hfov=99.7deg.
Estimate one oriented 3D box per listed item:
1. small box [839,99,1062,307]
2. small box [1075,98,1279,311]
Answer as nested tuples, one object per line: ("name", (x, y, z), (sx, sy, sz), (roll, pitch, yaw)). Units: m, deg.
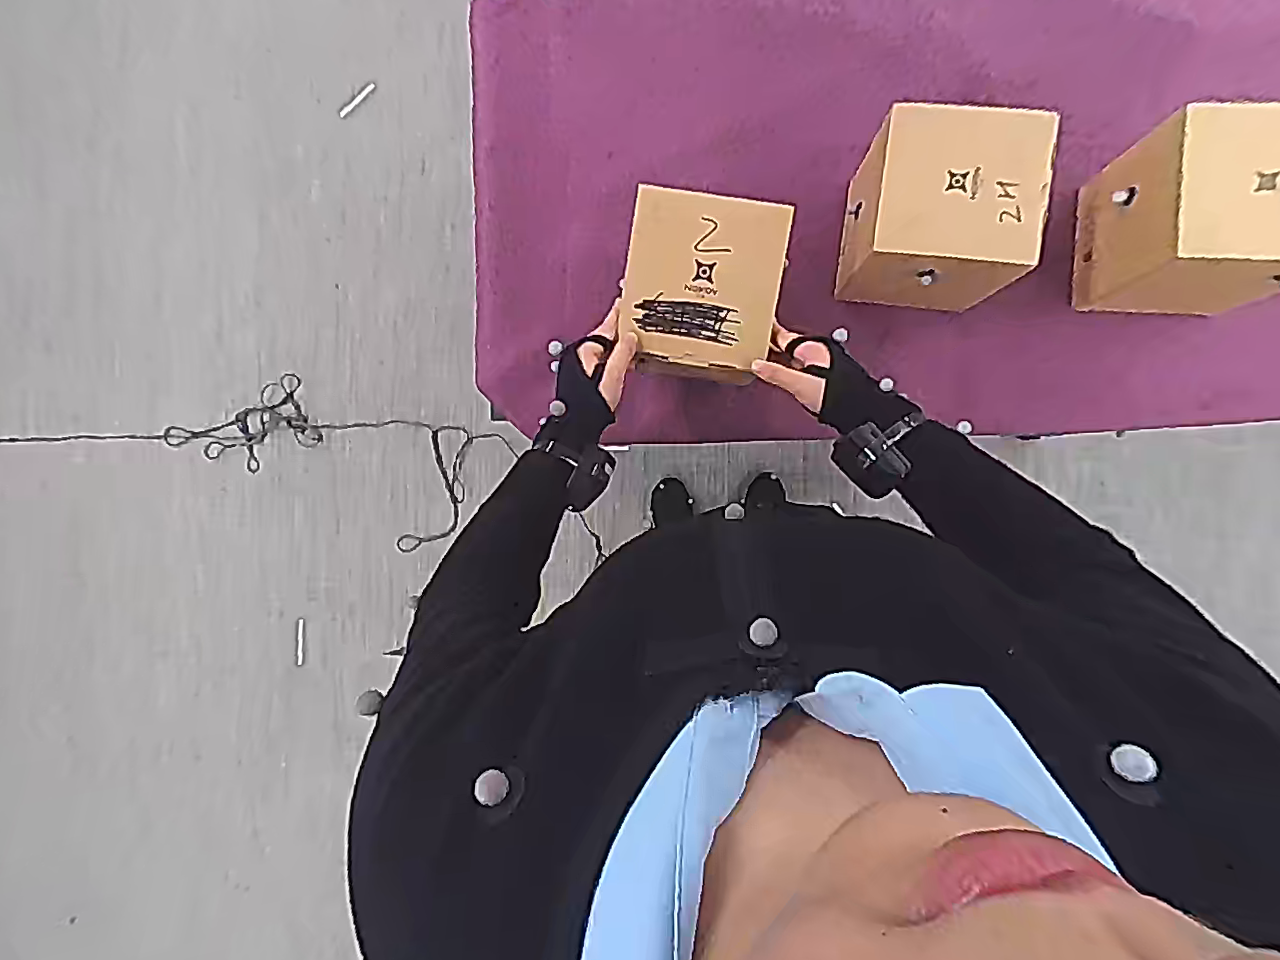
("small box", (0.359, -0.323, 0.661), (0.179, 0.176, 0.168), (8, 92, 5))
("small box", (0.657, -0.307, 0.633), (0.179, 0.176, 0.168), (4, 89, 5))
